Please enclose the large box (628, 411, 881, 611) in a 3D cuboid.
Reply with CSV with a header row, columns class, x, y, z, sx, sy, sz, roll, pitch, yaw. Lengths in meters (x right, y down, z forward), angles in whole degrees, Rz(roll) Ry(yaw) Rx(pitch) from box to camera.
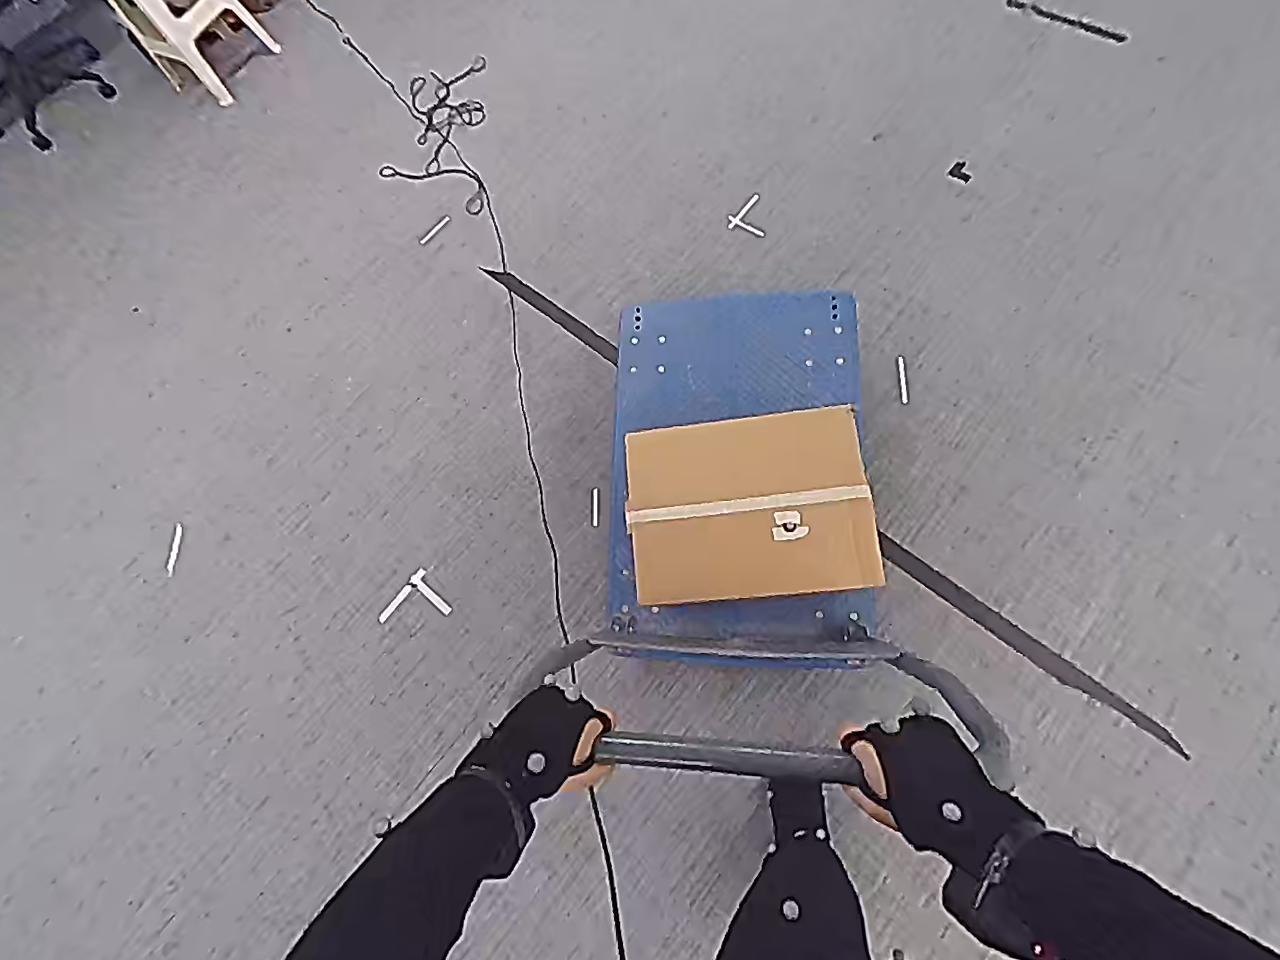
class,x,y,z,sx,sy,sz,roll,pitch,yaw
large box,0.208,0.085,1.087,0.408,0.320,0.320,-7,76,7
